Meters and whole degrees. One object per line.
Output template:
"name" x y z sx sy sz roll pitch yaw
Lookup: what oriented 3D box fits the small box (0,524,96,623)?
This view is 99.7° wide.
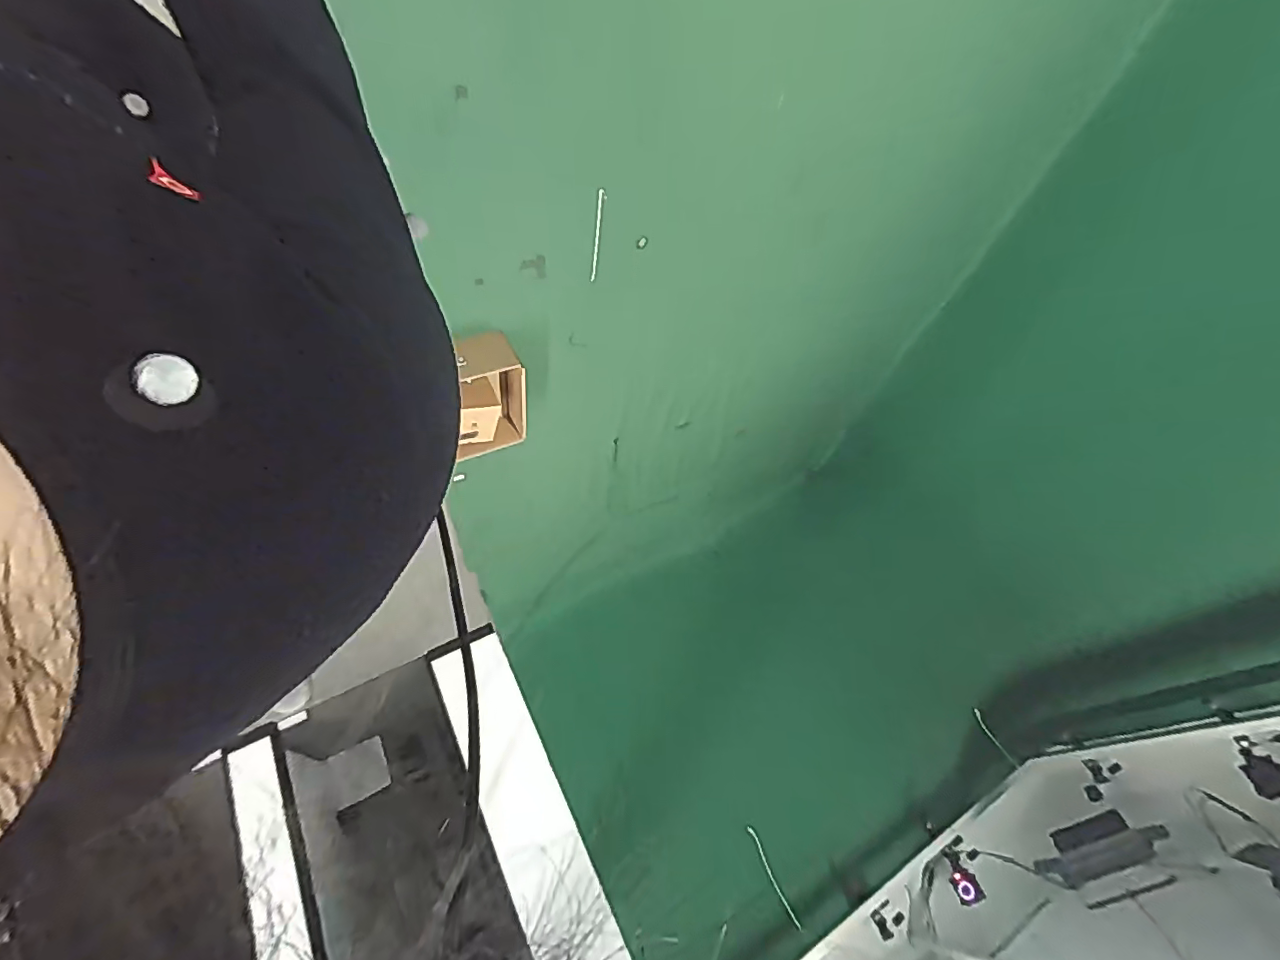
"small box" -1.506 0.224 1.350 0.168 0.176 0.179 -13 149 -29

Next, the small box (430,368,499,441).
"small box" -0.599 -0.258 1.825 0.168 0.176 0.179 -11 149 -36
